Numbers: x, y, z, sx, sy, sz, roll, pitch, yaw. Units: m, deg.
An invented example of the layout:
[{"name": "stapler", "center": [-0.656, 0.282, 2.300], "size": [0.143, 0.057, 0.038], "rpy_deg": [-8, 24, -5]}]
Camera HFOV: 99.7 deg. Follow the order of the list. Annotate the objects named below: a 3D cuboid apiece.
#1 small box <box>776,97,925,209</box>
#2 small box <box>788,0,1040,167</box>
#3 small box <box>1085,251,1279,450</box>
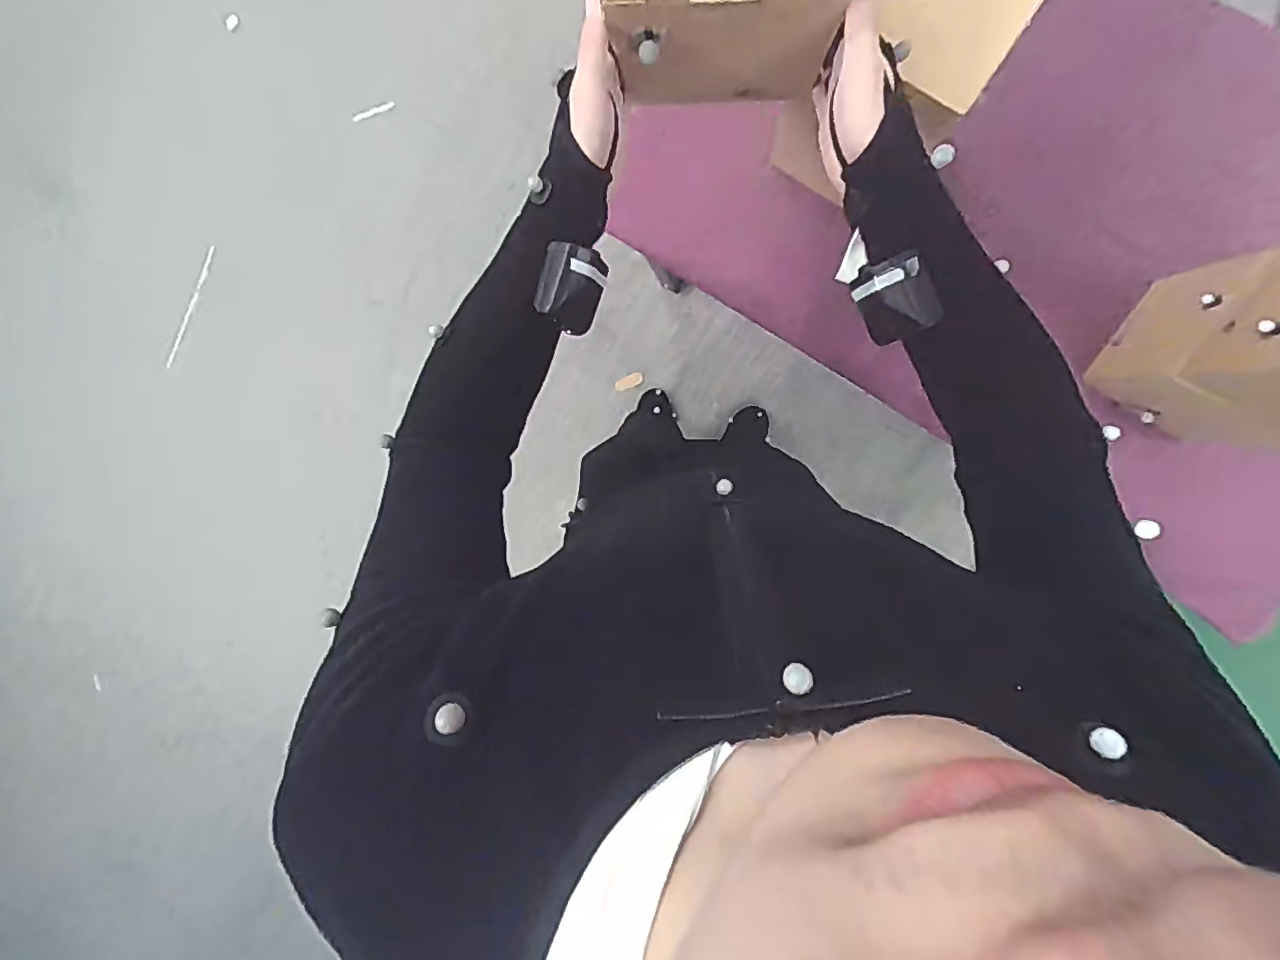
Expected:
[{"name": "small box", "center": [0.301, -0.489, 0.713], "size": [0.179, 0.176, 0.168], "rpy_deg": [34, 102, 2]}, {"name": "small box", "center": [0.275, -0.459, 0.556], "size": [0.179, 0.176, 0.168], "rpy_deg": [34, 103, 3]}, {"name": "small box", "center": [0.747, -0.159, 0.695], "size": [0.179, 0.176, 0.168], "rpy_deg": [32, 102, 3]}]
